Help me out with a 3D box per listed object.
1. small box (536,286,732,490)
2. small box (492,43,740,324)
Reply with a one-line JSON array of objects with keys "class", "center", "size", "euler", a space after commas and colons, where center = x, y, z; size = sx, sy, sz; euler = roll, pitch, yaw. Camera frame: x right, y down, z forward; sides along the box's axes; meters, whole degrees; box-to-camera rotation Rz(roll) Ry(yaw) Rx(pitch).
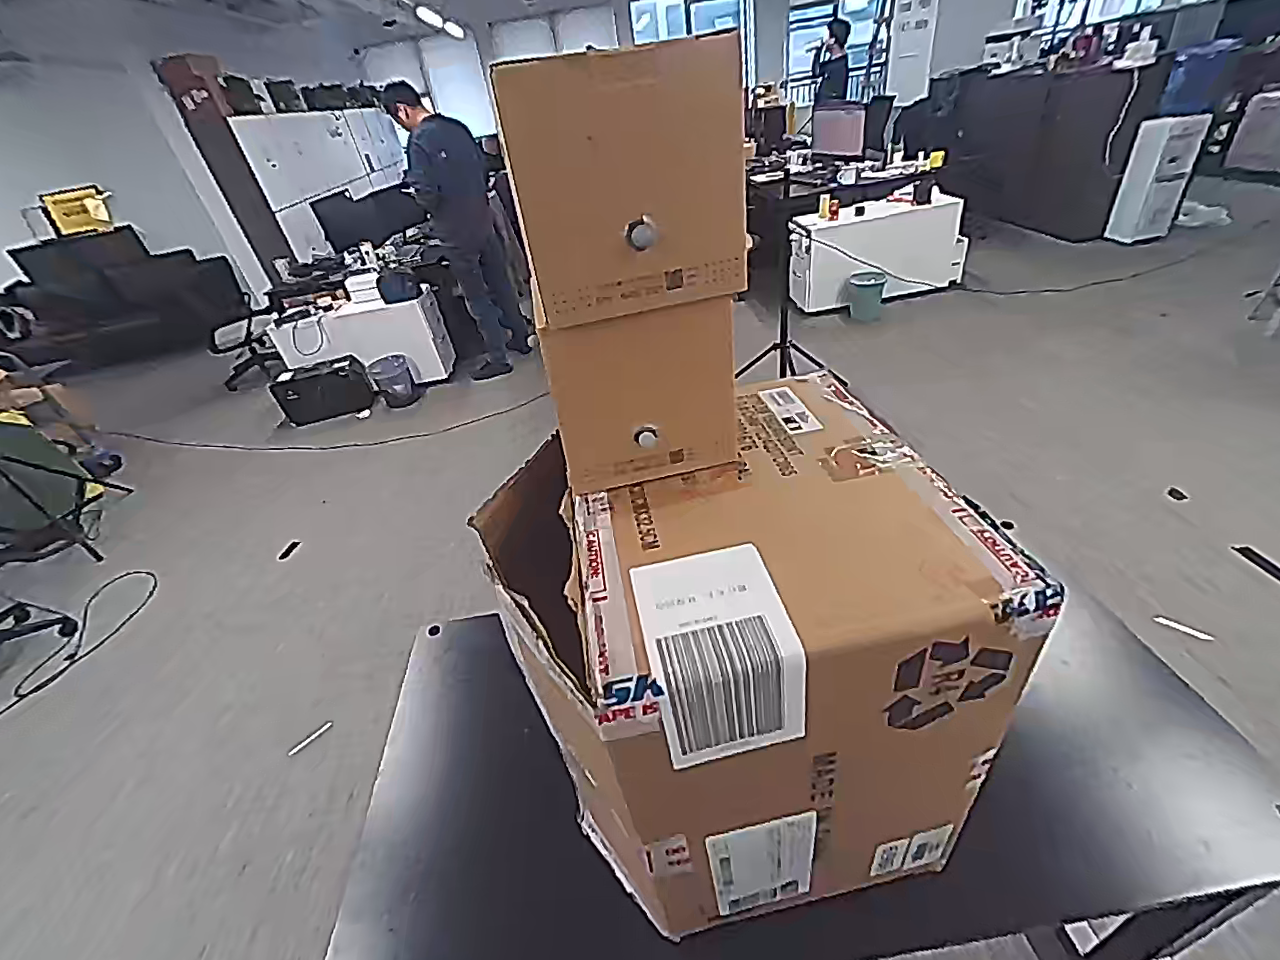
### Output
[{"class": "small box", "center": [-0.009, -0.113, 0.559], "size": [0.168, 0.176, 0.179], "euler": [-12, 34, -5]}, {"class": "small box", "center": [-0.022, -0.246, 0.461], "size": [0.168, 0.176, 0.179], "euler": [-13, 34, -6]}]
